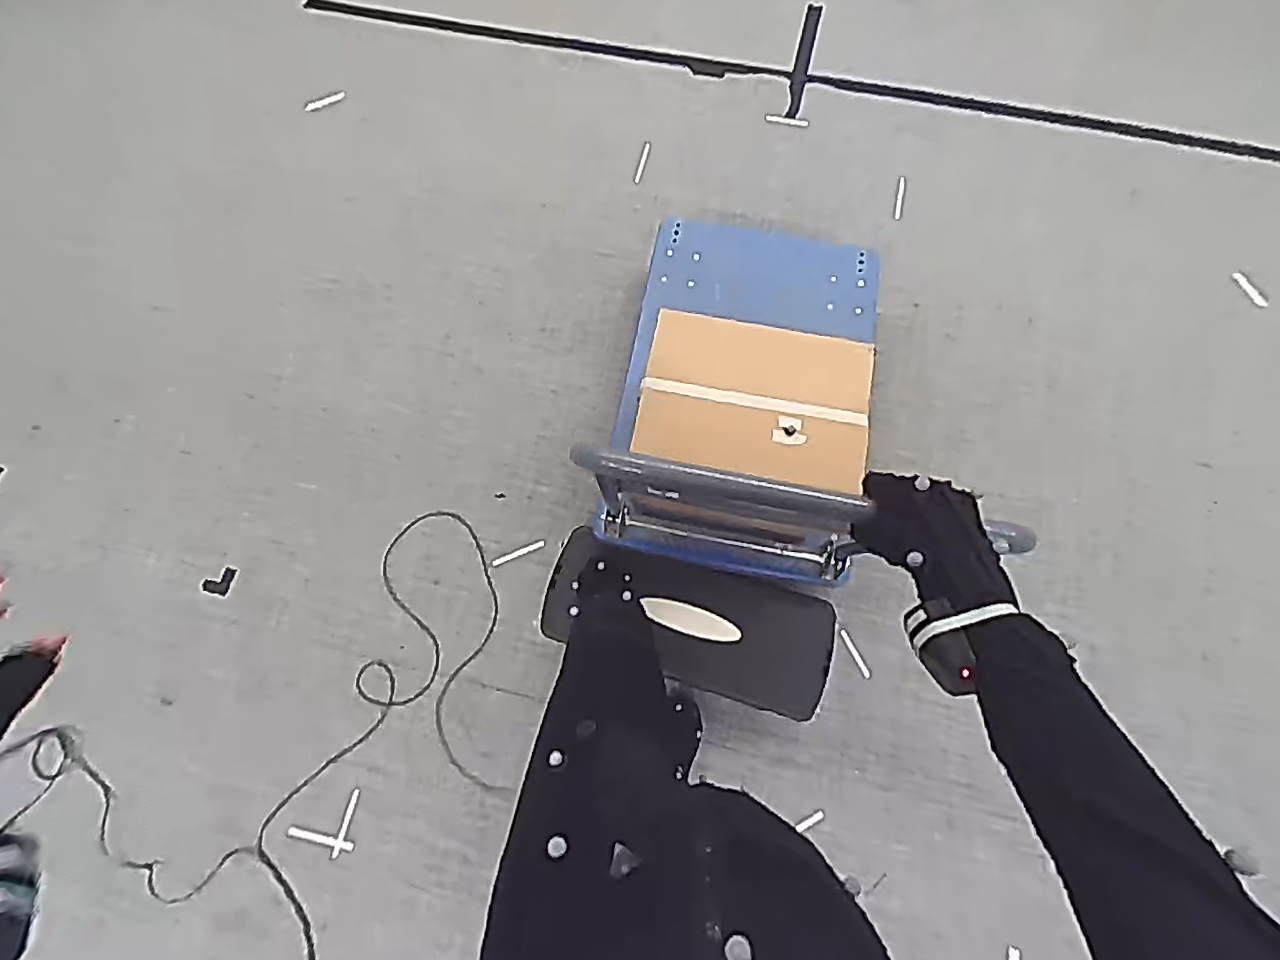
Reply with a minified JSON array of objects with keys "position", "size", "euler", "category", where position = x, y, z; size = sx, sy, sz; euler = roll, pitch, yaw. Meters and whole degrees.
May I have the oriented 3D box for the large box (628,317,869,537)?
[{"position":[0.196,-0.089,1.100],"size":[0.408,0.320,0.320],"euler":[11,76,2],"category":"large box"}]
